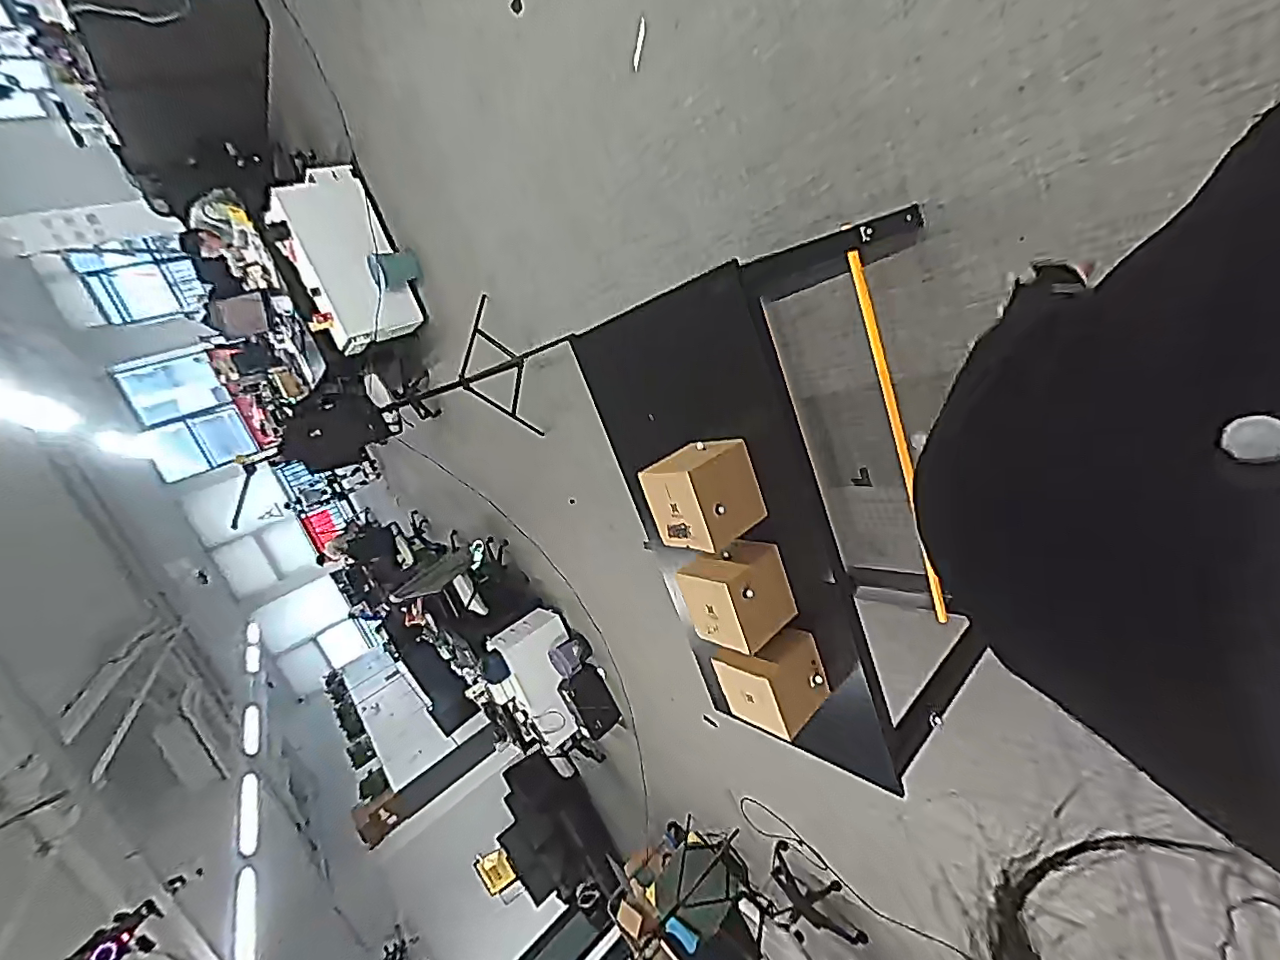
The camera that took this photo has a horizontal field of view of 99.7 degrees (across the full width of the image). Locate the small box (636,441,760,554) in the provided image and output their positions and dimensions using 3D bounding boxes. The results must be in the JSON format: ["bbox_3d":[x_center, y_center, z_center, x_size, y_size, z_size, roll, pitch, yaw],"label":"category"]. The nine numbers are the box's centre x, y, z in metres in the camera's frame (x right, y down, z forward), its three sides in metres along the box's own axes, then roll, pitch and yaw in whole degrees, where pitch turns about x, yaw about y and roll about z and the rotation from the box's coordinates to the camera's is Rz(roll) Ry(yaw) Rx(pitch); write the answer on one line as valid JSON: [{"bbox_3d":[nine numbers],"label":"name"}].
[{"bbox_3d":[0.125,0.032,1.135,0.168,0.176,0.179,0,115,54],"label":"small box"}]

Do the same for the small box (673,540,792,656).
[{"bbox_3d":[0.207,0.250,1.197,0.168,0.176,0.179,1,116,55],"label":"small box"}]

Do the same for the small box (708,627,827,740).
[{"bbox_3d":[0.293,0.448,1.239,0.179,0.176,0.168,-2,115,54],"label":"small box"}]
